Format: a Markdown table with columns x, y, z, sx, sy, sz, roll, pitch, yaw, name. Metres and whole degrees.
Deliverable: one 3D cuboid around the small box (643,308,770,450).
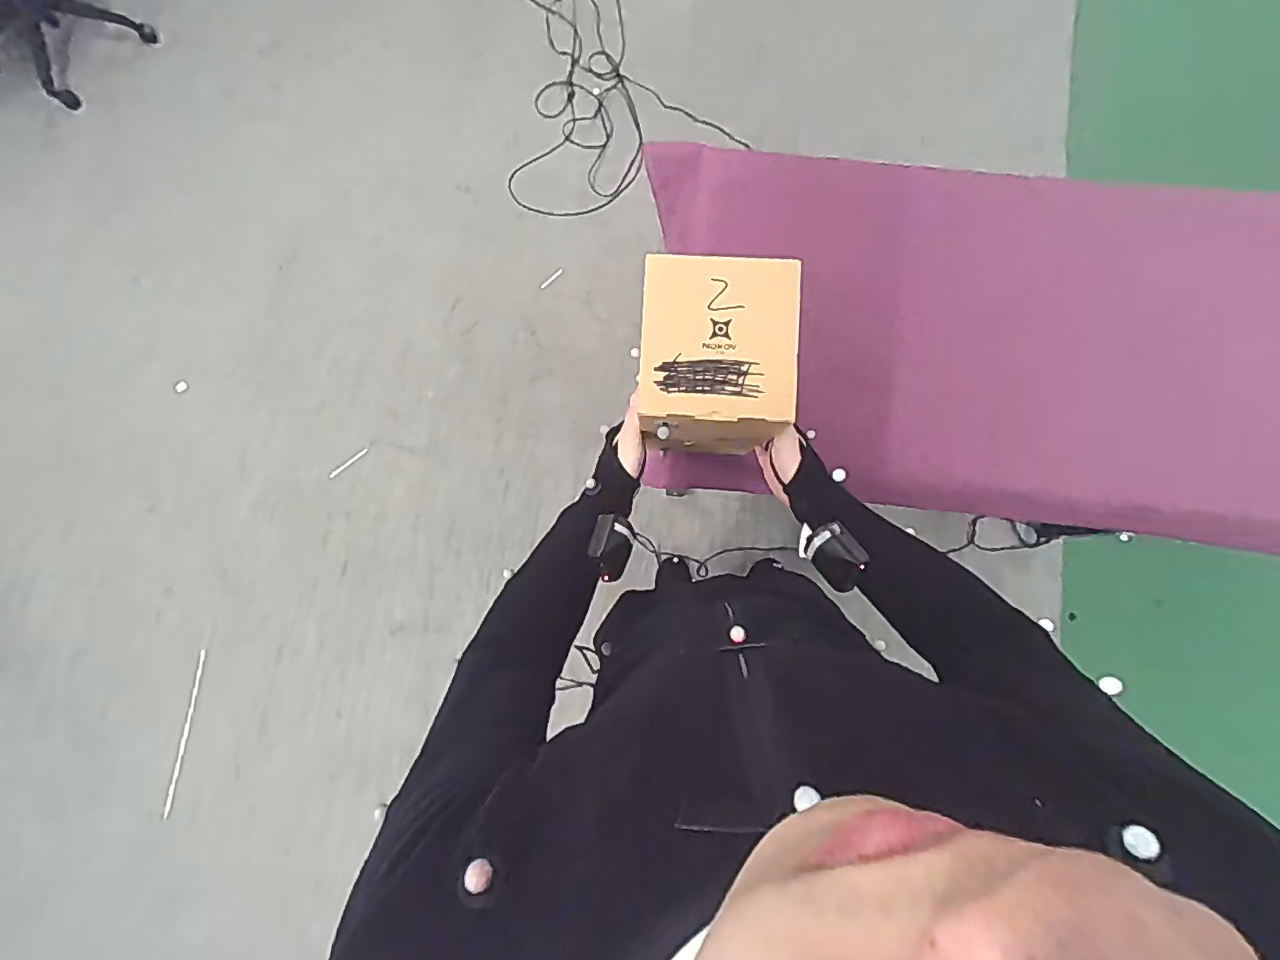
| x | y | z | sx | sy | sz | roll | pitch | yaw | name |
| --- | --- | --- | --- | --- | --- | --- | --- | --- | --- |
| 0.093 | -0.140 | 0.808 | 0.168 | 0.176 | 0.179 | 3 | 87 | 2 | small box |
